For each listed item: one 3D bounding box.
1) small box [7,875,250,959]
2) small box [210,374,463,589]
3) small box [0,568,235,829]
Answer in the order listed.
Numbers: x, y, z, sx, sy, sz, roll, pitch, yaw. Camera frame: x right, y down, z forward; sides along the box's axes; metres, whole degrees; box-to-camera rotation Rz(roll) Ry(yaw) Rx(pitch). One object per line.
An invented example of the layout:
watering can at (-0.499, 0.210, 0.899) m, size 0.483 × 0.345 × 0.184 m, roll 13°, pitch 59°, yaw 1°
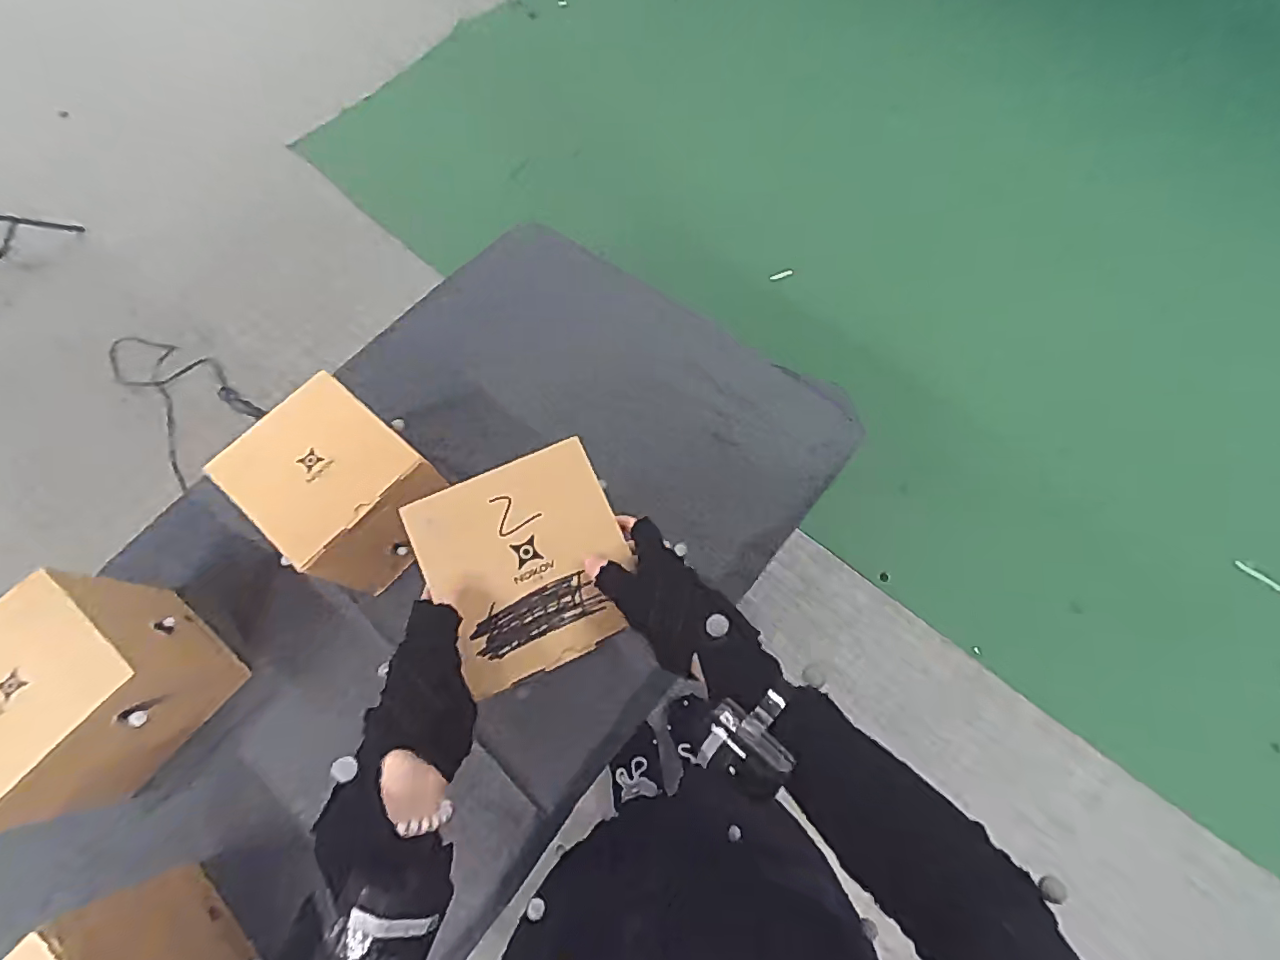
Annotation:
small box at (-0.484, 0.502, 0.475) m, size 0.168 × 0.176 × 0.179 m, roll 40°, pitch 75°, yaw 14°
small box at (-0.352, 0.013, 0.664) m, size 0.179 × 0.176 × 0.168 m, roll 39°, pitch 74°, yaw 13°
small box at (-0.588, 0.224, 0.579) m, size 0.168 × 0.176 × 0.179 m, roll 37°, pitch 74°, yaw 13°
